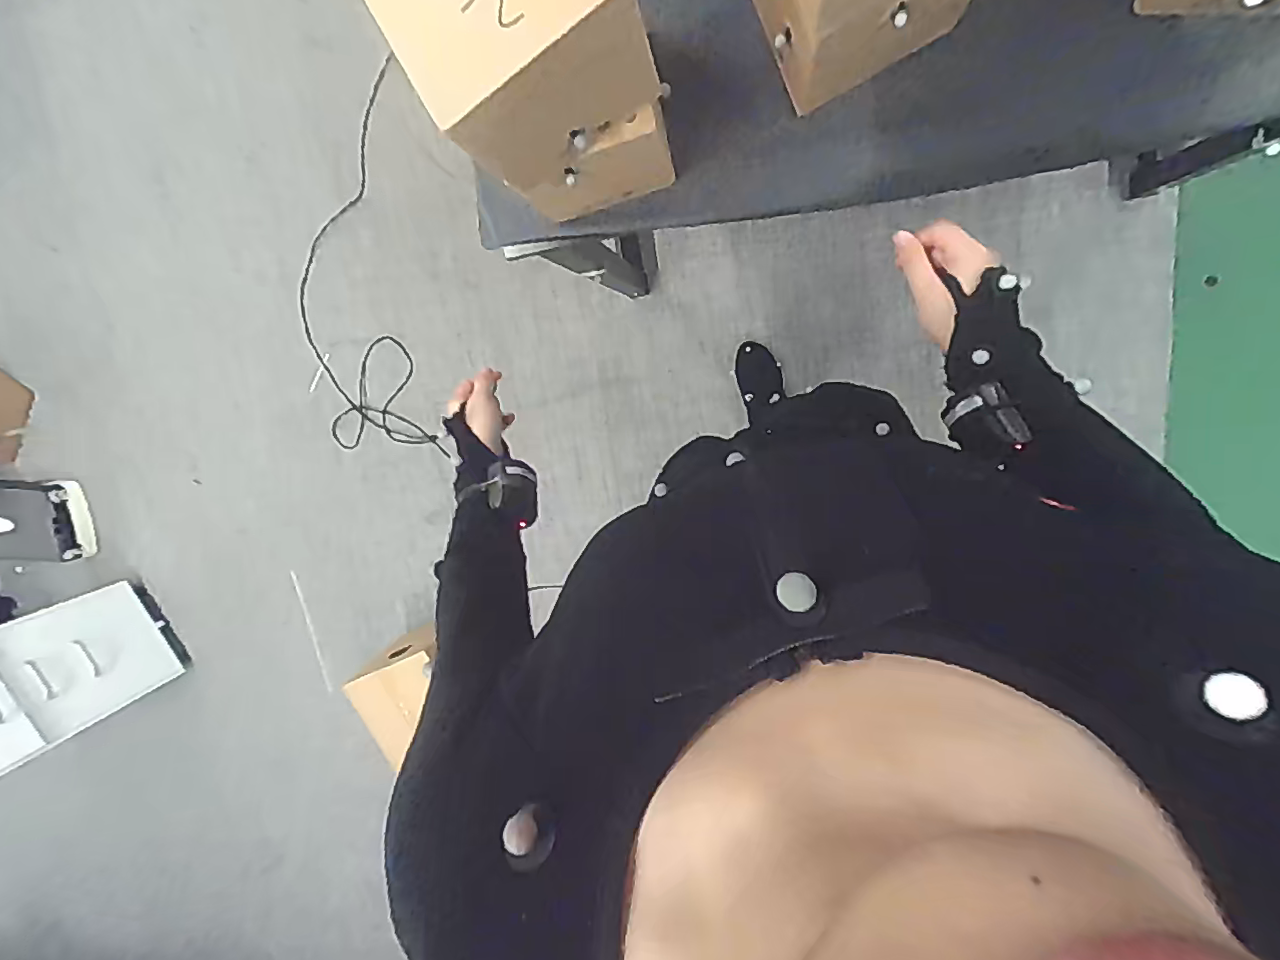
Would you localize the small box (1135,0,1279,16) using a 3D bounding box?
[{"bbox_3d":[0.568,-0.538,0.448,0.168,0.176,0.179,9,104,10],"label":"small box"}]

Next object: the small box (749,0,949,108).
[{"bbox_3d":[0.205,-0.518,0.532,0.179,0.176,0.168,-24,97,15],"label":"small box"}]

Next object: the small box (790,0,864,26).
[{"bbox_3d":[0.173,-0.480,0.375,0.179,0.176,0.168,-21,98,15],"label":"small box"}]
